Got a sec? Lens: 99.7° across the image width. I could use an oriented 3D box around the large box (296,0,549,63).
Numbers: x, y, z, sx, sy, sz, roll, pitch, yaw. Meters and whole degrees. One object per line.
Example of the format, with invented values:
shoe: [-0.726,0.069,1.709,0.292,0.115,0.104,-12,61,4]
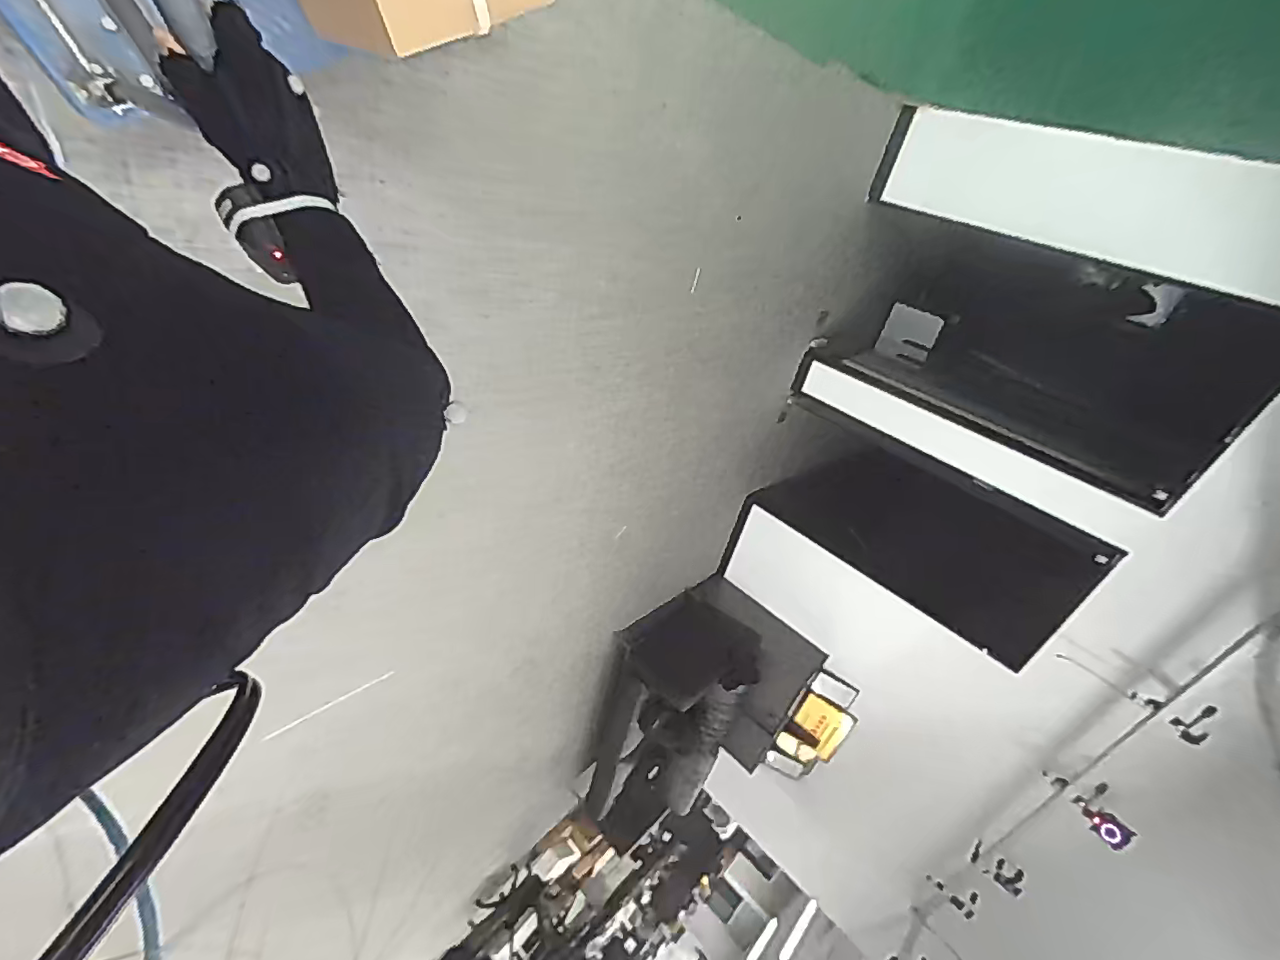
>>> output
large box: [-0.390,-0.907,0.788,0.320,0.320,0.408,-40,145,-22]
